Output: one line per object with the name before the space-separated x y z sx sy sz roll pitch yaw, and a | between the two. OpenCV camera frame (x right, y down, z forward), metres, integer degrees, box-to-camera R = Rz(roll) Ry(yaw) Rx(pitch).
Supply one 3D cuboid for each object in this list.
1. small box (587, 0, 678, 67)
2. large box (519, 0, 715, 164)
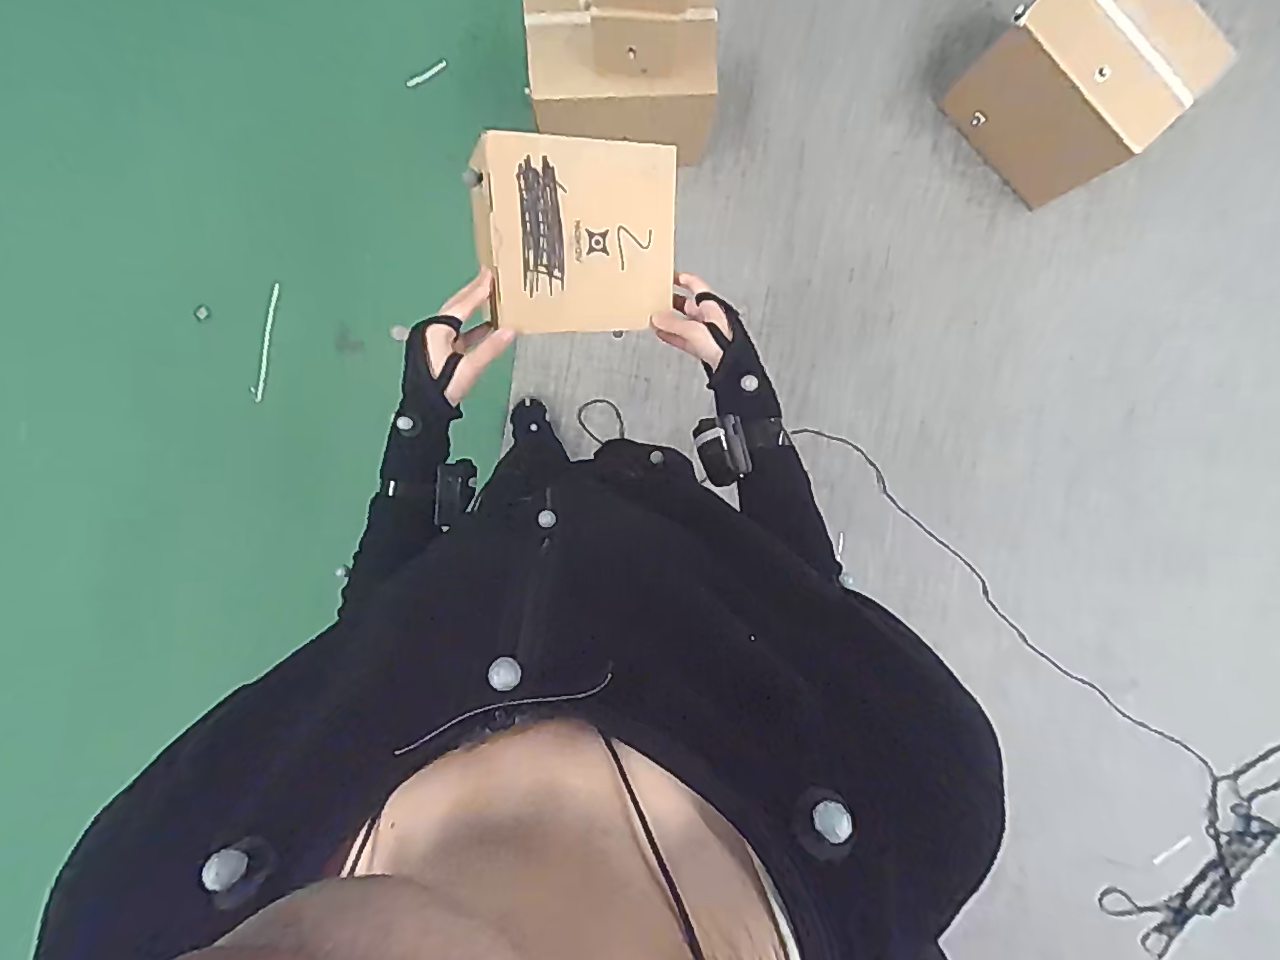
small box | -0.013 -0.931 1.029 0.168 0.176 0.179 2 95 -4
large box | -0.052 -0.982 1.270 0.408 0.320 0.320 -4 94 -1
